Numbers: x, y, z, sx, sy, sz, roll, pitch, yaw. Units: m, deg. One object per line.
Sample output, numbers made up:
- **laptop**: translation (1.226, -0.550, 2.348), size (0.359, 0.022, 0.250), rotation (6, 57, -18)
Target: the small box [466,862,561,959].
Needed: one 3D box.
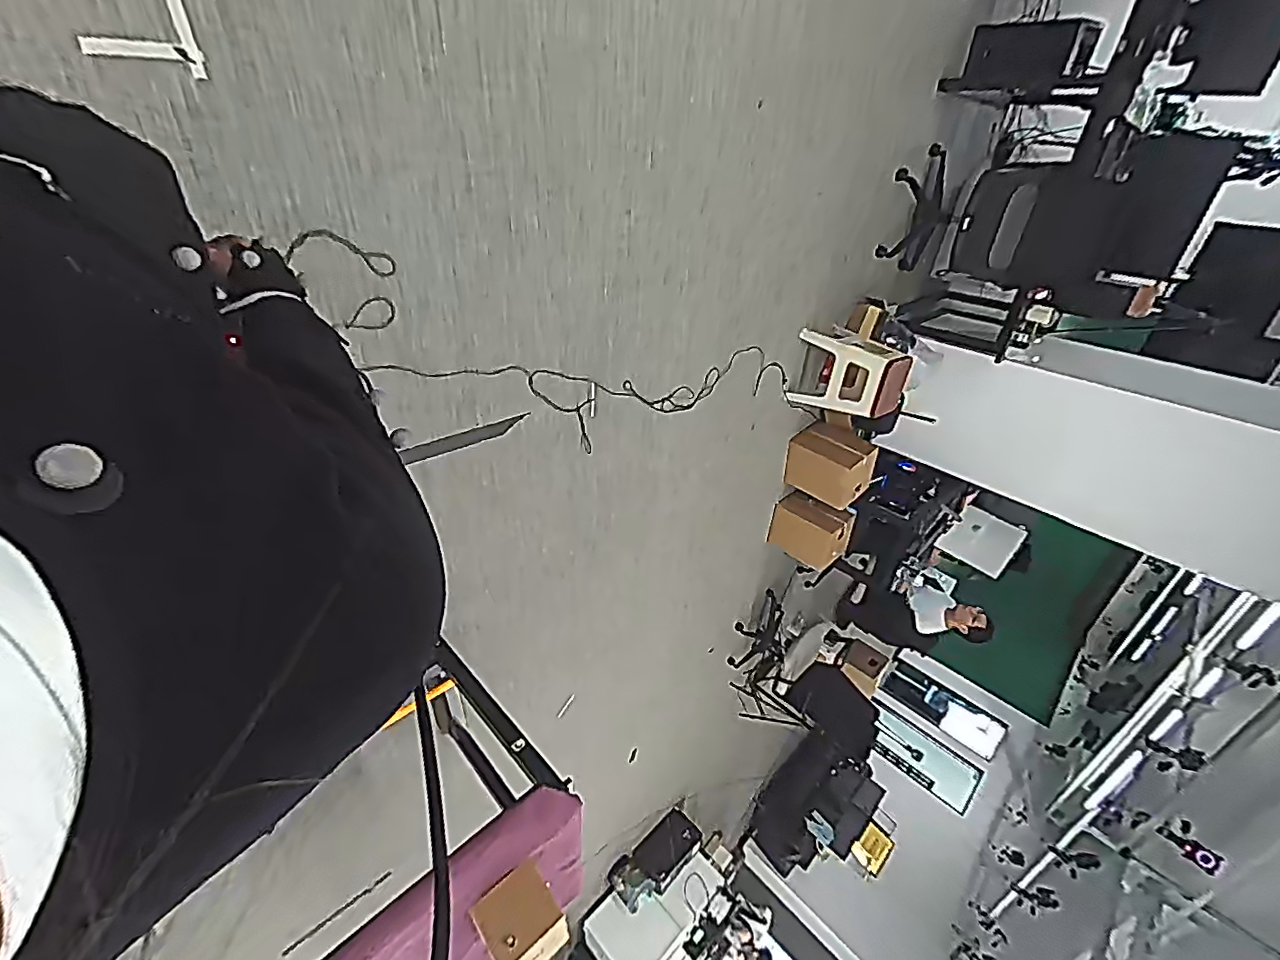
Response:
- **small box**: translation (-0.322, 1.122, 1.359), size (0.179, 0.176, 0.168), rotation (-26, 133, -34)
